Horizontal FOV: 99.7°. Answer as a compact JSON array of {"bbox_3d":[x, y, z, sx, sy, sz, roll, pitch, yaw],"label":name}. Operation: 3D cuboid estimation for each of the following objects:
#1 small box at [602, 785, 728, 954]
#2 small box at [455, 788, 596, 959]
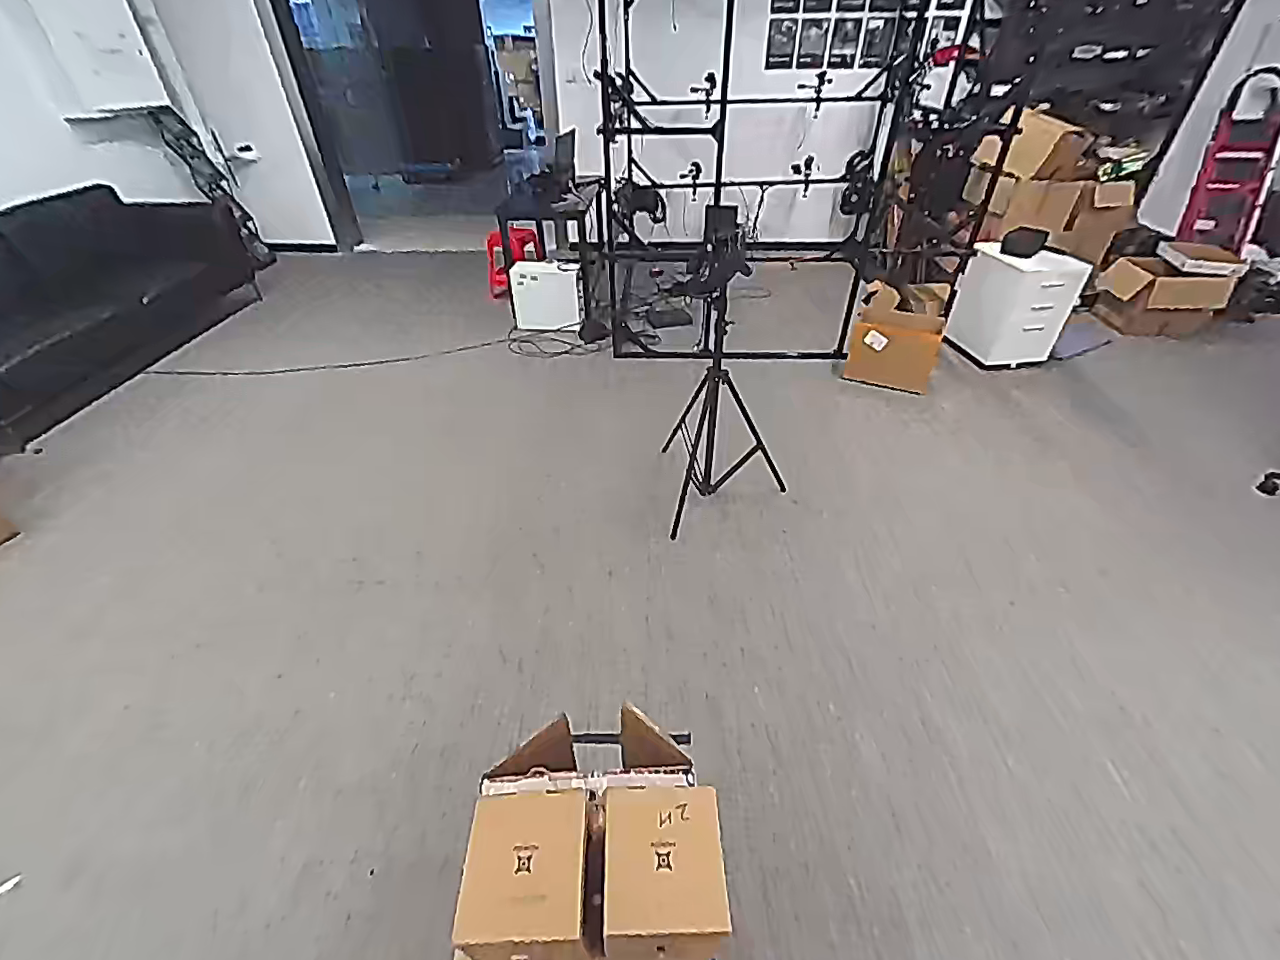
[{"bbox_3d":[0.032,0.581,0.805,0.168,0.176,0.179,0,40,-2],"label":"small box"},{"bbox_3d":[-0.156,0.586,0.803,0.168,0.176,0.179,-3,42,-1],"label":"small box"}]
